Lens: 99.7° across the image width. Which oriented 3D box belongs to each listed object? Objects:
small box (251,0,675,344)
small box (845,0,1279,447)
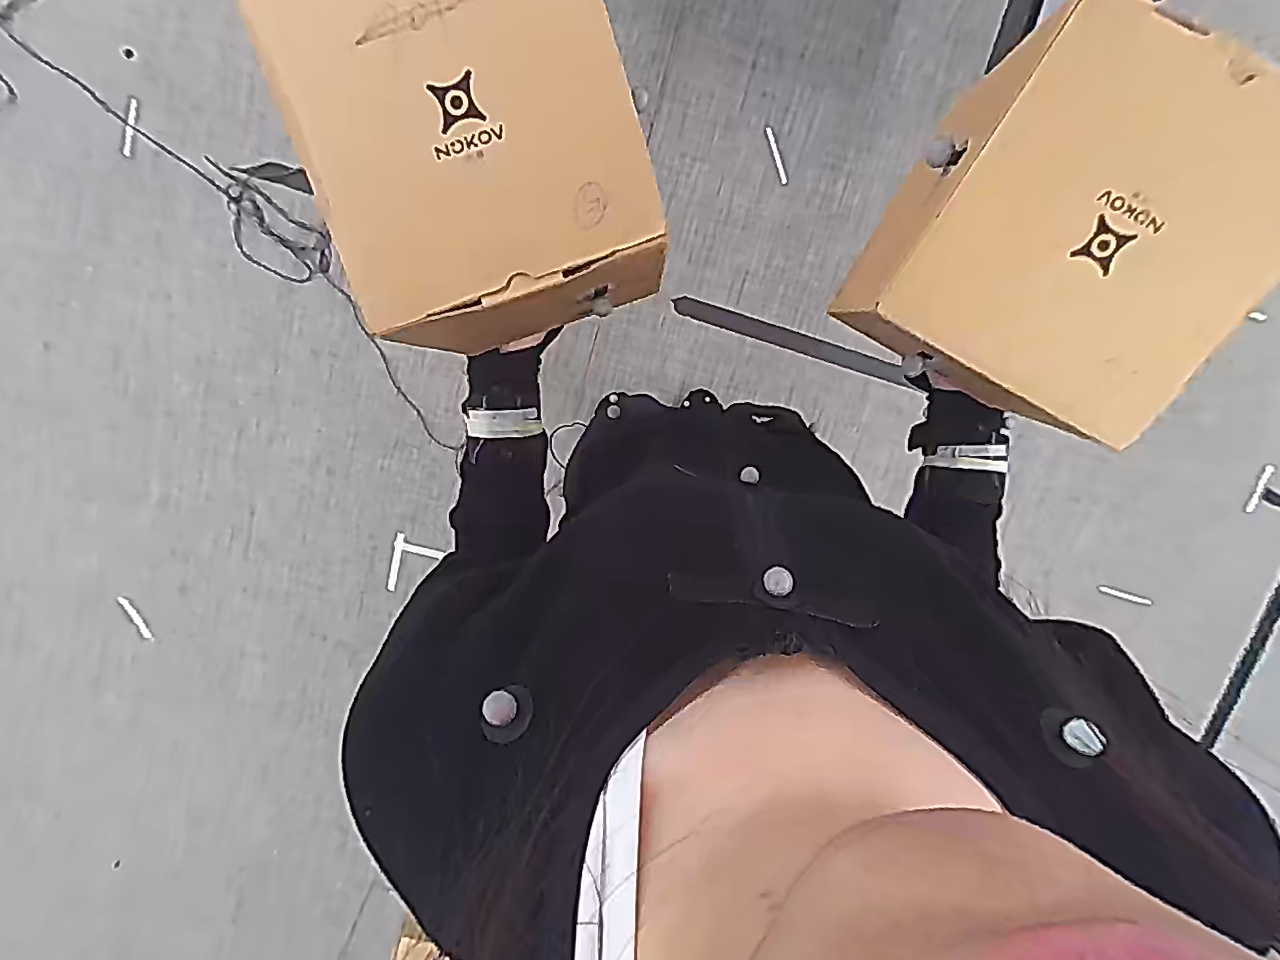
[{"bbox_3d":[-0.083,-0.194,0.343,0.168,0.176,0.179,-19,99,2],"label":"small box"},{"bbox_3d":[0.259,-0.149,0.358,0.168,0.176,0.179,29,108,0],"label":"small box"}]
